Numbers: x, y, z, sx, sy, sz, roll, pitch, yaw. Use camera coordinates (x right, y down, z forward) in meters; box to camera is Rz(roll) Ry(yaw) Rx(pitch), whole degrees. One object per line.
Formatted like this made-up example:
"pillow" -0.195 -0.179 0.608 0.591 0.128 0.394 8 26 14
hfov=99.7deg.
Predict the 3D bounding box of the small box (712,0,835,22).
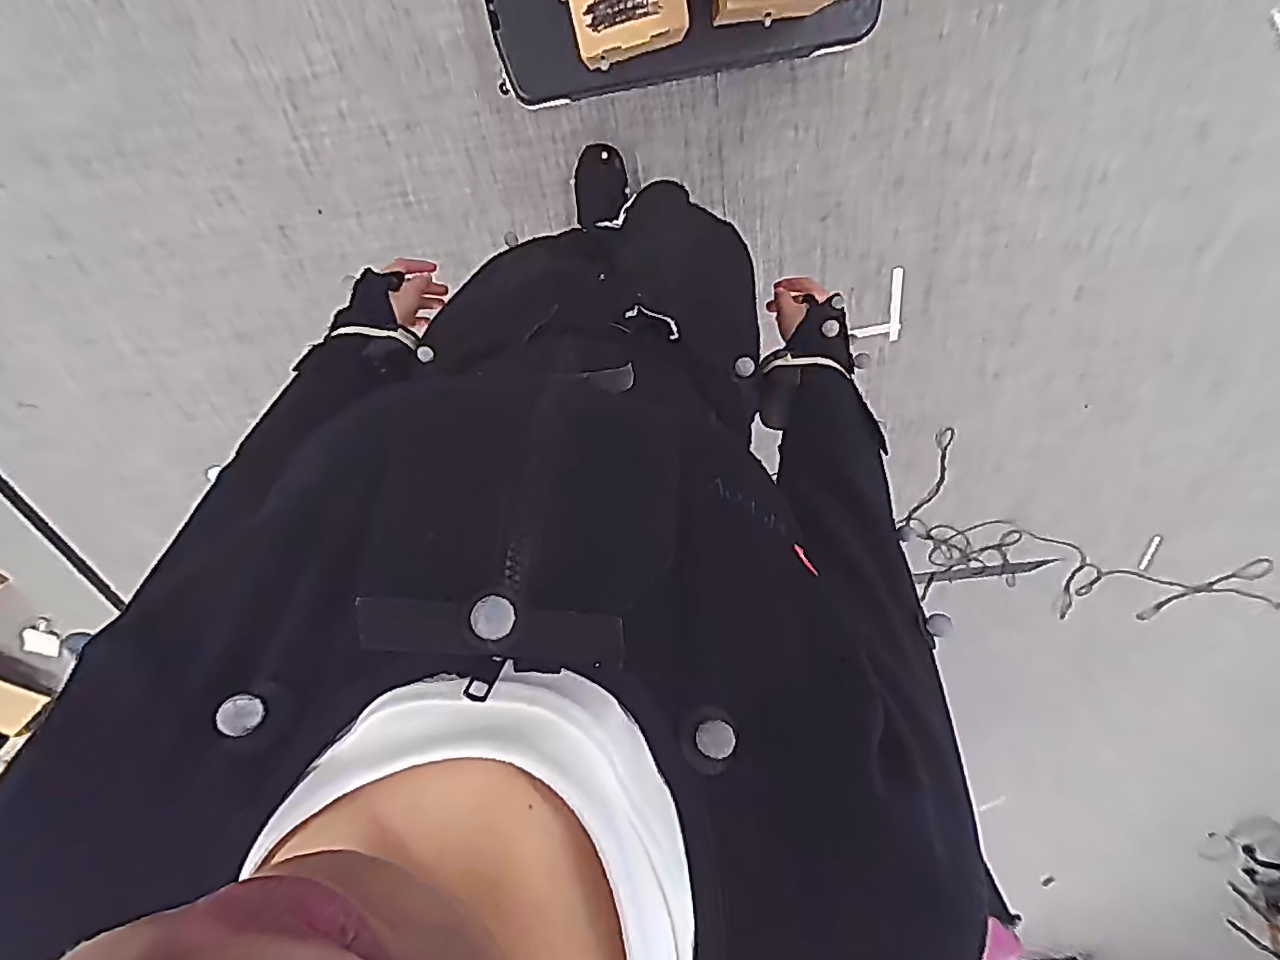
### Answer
"small box" 0.196 -0.796 0.793 0.168 0.176 0.179 -4 124 2
